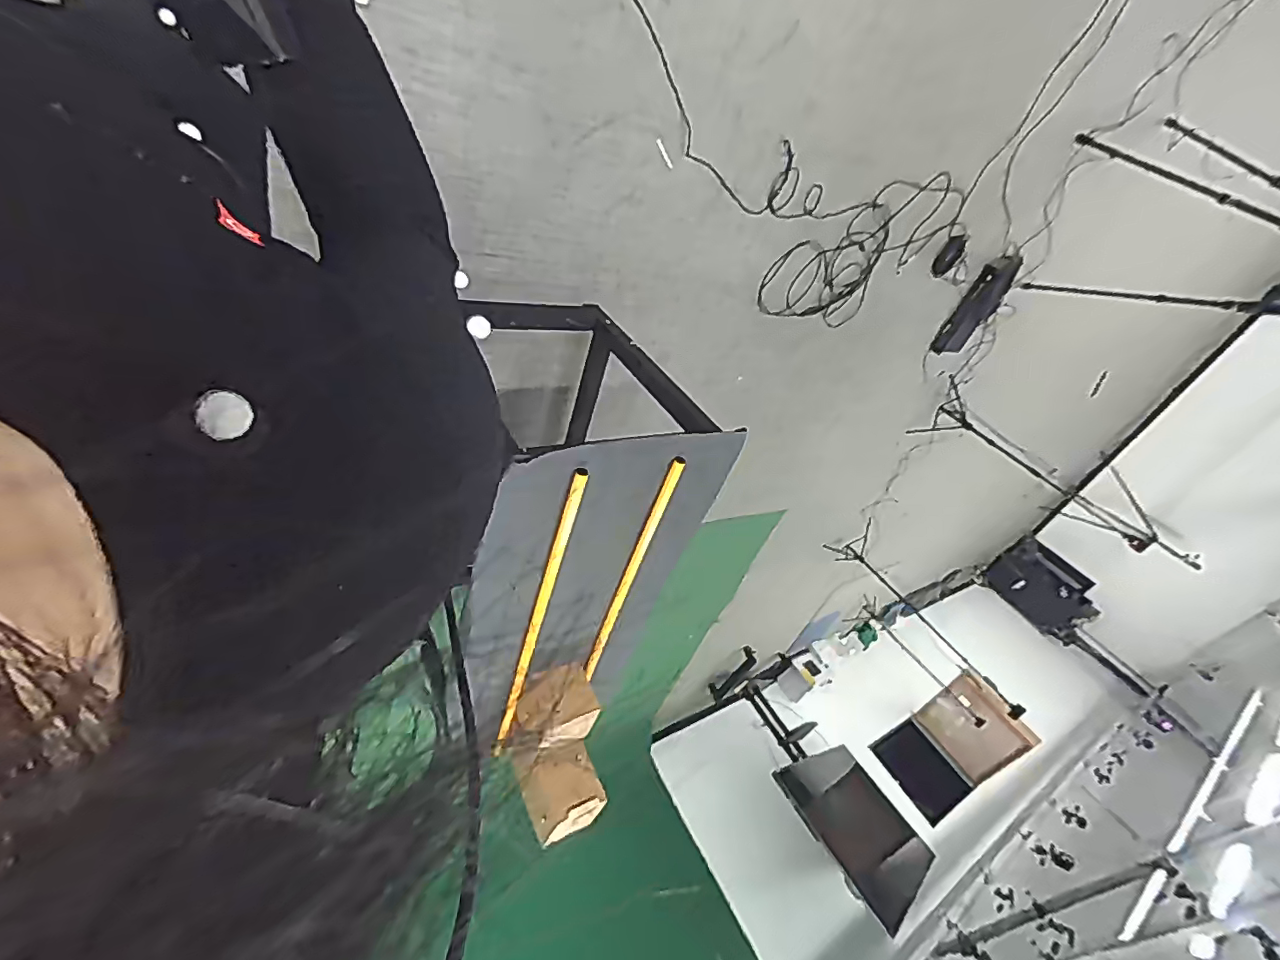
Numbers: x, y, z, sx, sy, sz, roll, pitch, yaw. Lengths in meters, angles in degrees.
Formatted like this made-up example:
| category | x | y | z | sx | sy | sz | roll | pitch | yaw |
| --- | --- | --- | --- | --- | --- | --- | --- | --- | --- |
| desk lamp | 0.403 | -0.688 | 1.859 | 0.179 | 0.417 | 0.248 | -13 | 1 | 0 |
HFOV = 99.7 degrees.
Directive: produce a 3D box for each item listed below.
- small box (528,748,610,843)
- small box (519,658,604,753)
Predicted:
| category | x | y | z | sx | sy | sz | roll | pitch | yaw |
| --- | --- | --- | --- | --- | --- | --- | --- | --- | --- |
| small box | -0.218 | 0.932 | 1.617 | 0.168 | 0.176 | 0.179 | -4 | 132 | -37 |
| small box | -0.236 | 0.653 | 1.580 | 0.179 | 0.176 | 0.168 | -7 | 134 | -36 |
